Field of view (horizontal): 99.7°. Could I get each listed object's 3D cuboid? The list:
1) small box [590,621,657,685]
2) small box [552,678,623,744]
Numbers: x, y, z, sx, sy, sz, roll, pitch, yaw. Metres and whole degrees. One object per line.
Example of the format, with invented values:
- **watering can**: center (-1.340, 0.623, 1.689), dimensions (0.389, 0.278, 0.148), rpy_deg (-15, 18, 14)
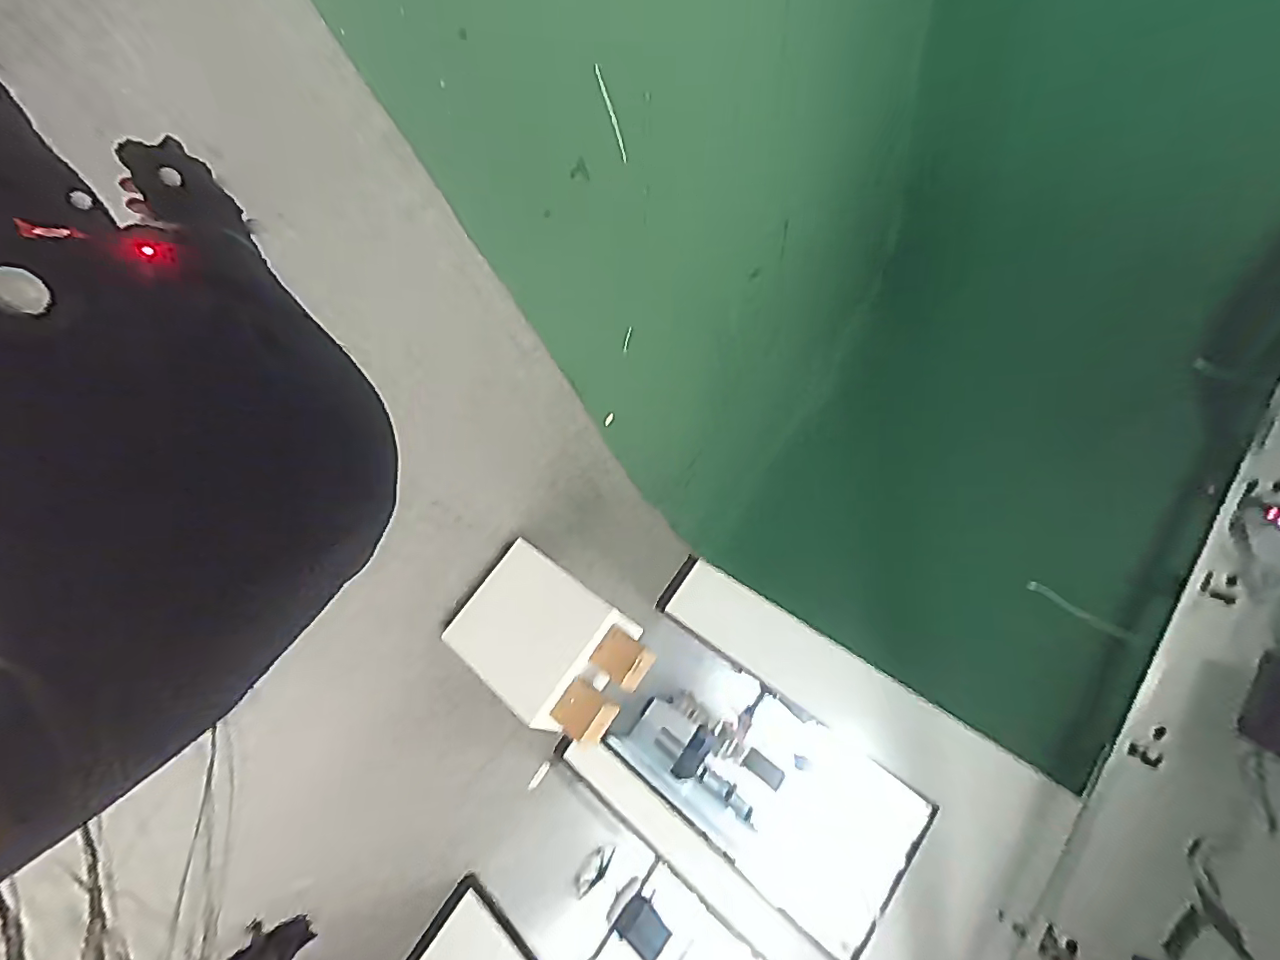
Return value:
- **small box**: center (-0.067, 0.674, 2.110), dimensions (0.168, 0.176, 0.179), rpy_deg (-54, 151, -9)
- **small box**: center (-0.201, 0.874, 2.054), dimensions (0.168, 0.176, 0.179), rpy_deg (-55, 149, -10)
